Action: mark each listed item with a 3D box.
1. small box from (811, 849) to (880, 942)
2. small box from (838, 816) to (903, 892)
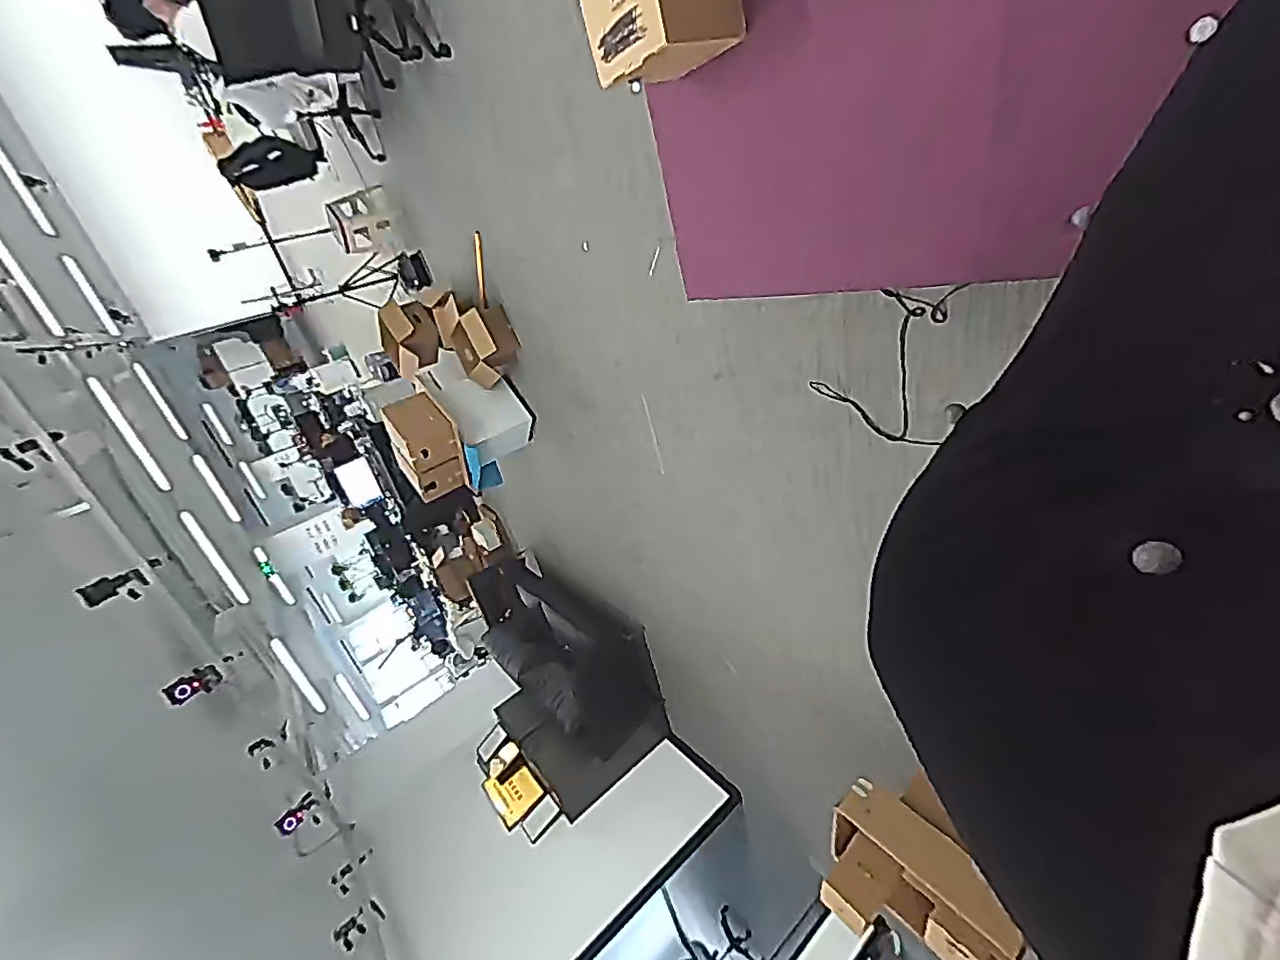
[{"bbox_3d":[0.734,1.482,1.934,0.168,0.176,0.179,29,138,42],"label":"small box"},{"bbox_3d":[0.854,1.411,2.019,0.168,0.176,0.179,30,138,41],"label":"small box"}]
